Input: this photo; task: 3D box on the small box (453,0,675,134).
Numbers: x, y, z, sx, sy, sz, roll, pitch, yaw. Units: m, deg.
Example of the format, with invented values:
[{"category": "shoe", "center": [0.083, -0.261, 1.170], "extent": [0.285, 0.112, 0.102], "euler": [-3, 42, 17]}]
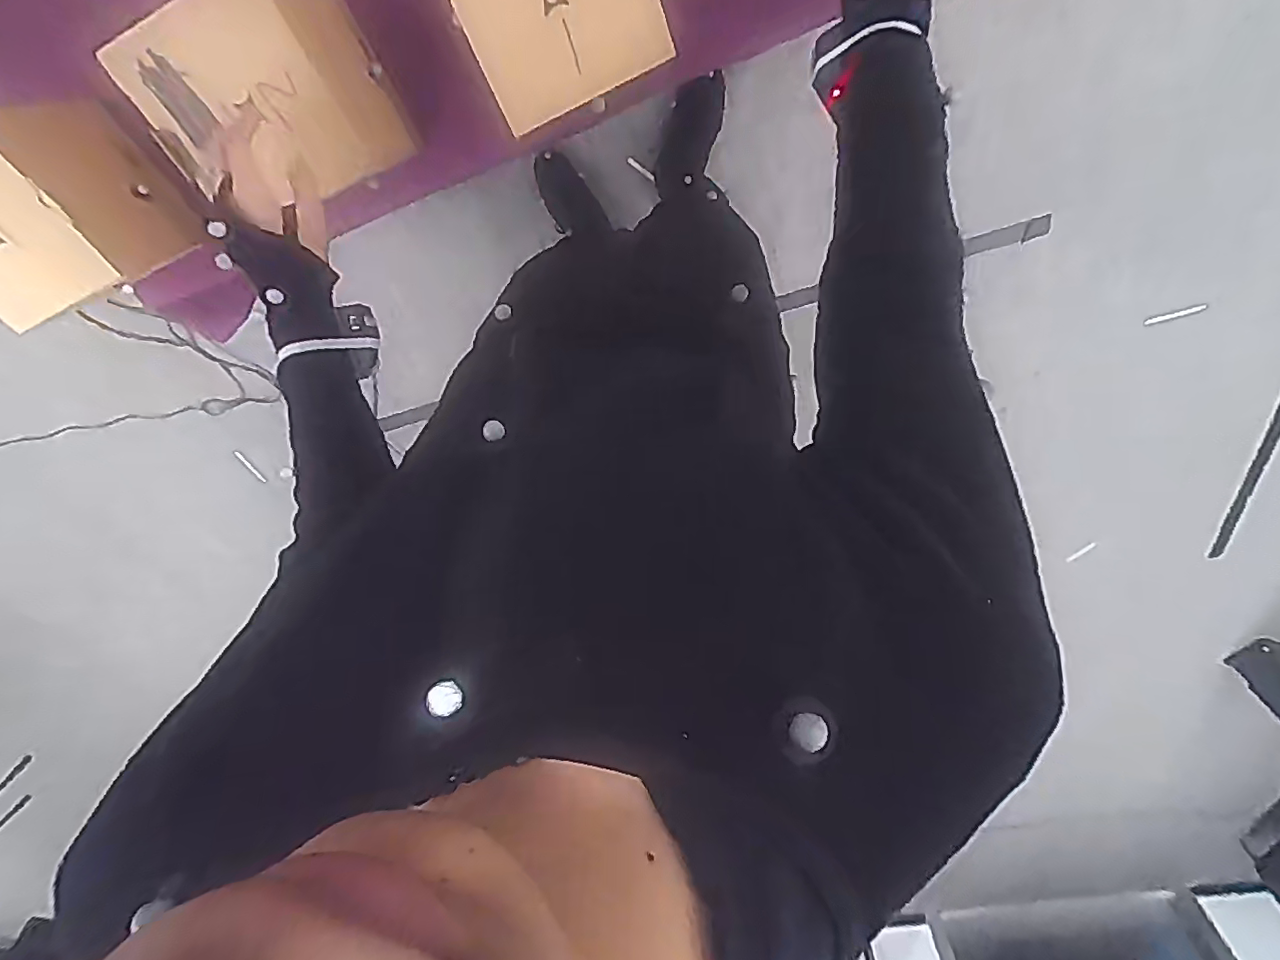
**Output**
[{"category": "small box", "center": [-0.076, -0.461, 0.507], "extent": [0.168, 0.176, 0.179], "euler": [-18, 127, 14]}]

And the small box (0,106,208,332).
[{"category": "small box", "center": [-0.671, -0.305, 0.630], "extent": [0.179, 0.176, 0.168], "euler": [-20, 126, 13]}]
